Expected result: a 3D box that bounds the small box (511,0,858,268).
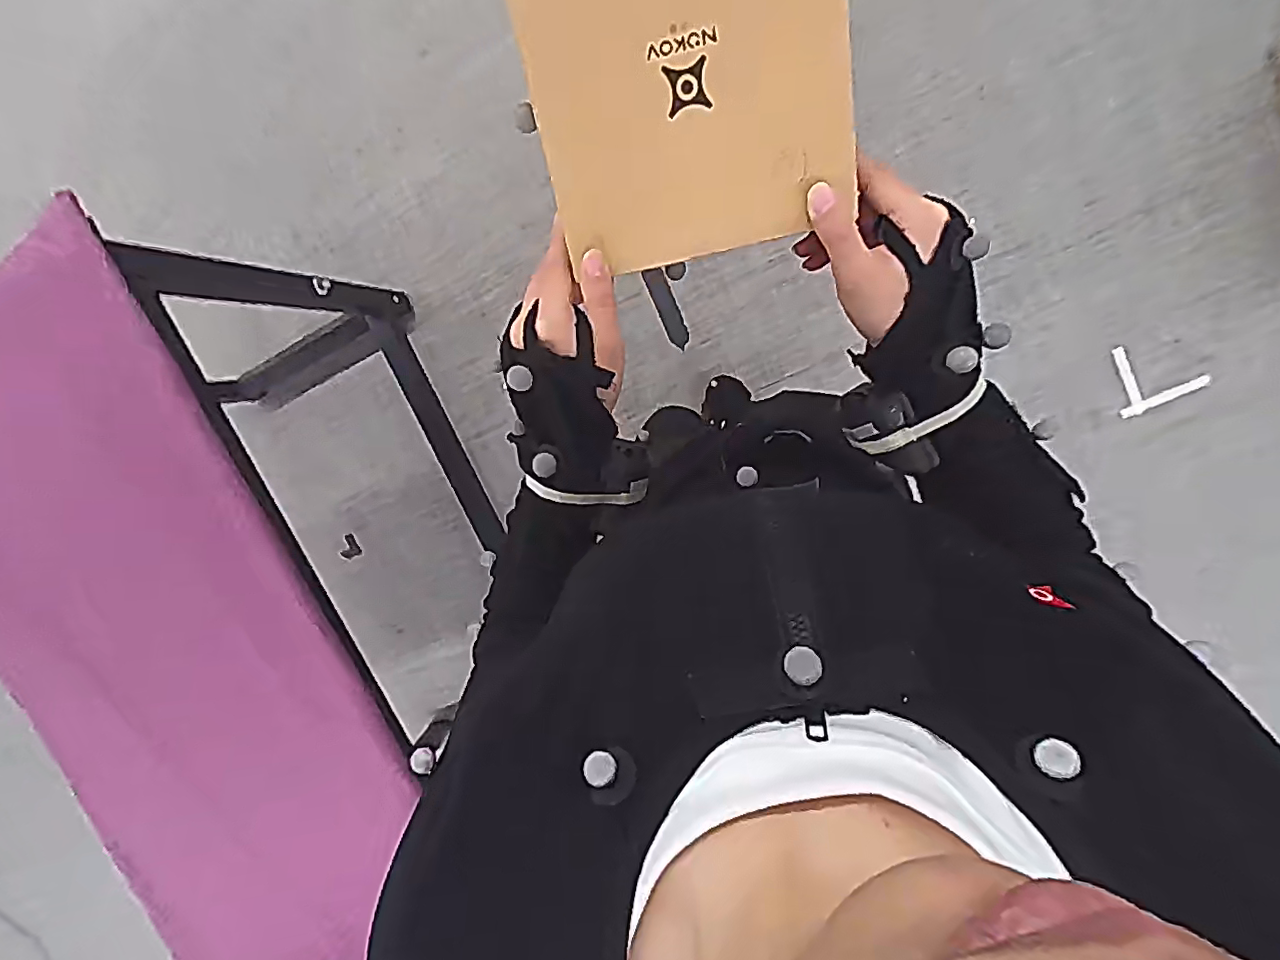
[{"bbox_3d":[0.028,-0.248,0.346,0.168,0.176,0.179,-10,113,7],"label":"small box"}]
